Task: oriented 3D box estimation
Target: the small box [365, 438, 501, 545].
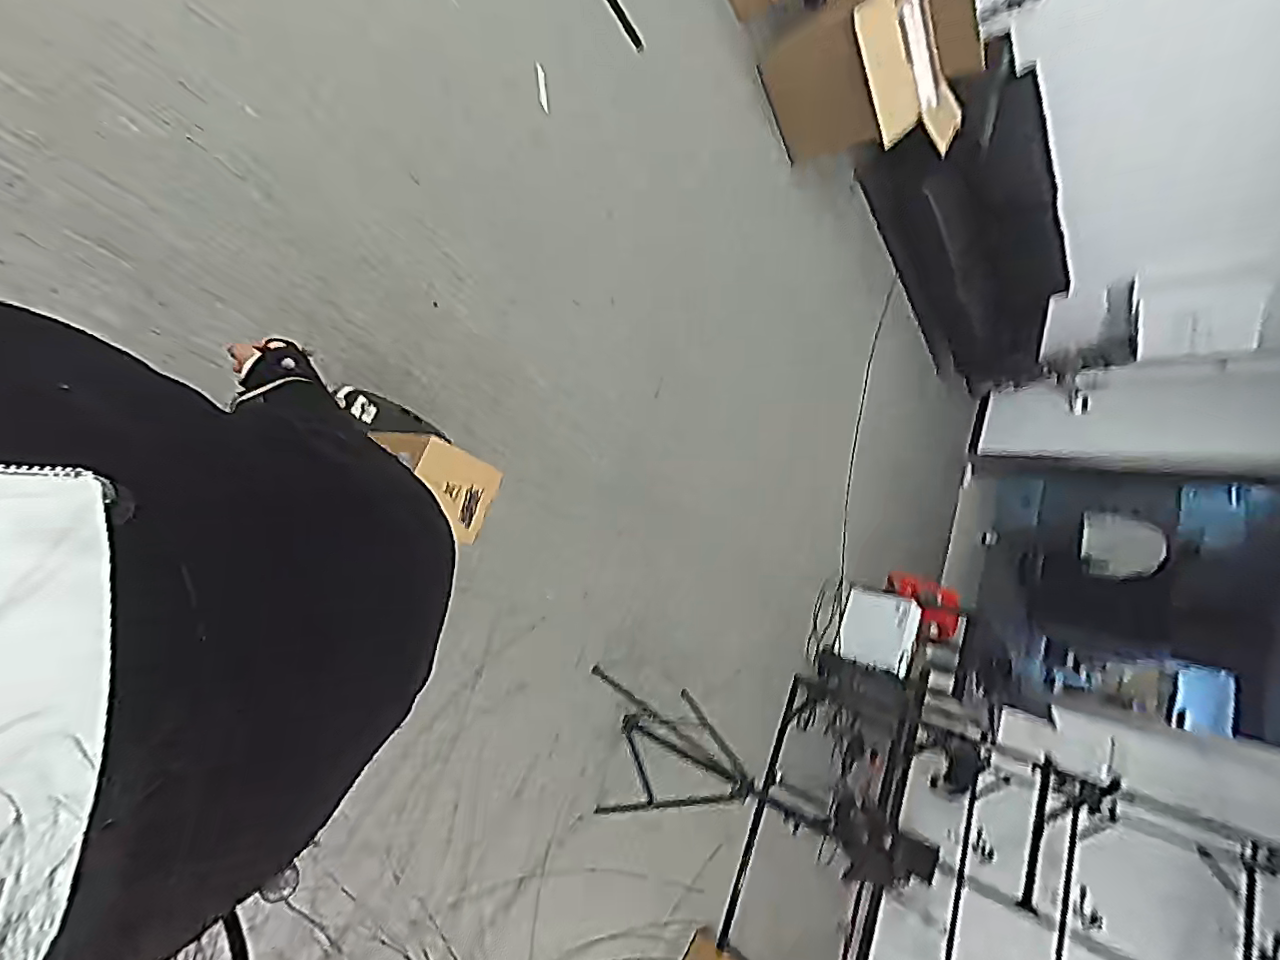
[{"bbox_3d":[-0.430,0.018,1.124,0.179,0.176,0.168,34,70,-42],"label":"small box"}]
